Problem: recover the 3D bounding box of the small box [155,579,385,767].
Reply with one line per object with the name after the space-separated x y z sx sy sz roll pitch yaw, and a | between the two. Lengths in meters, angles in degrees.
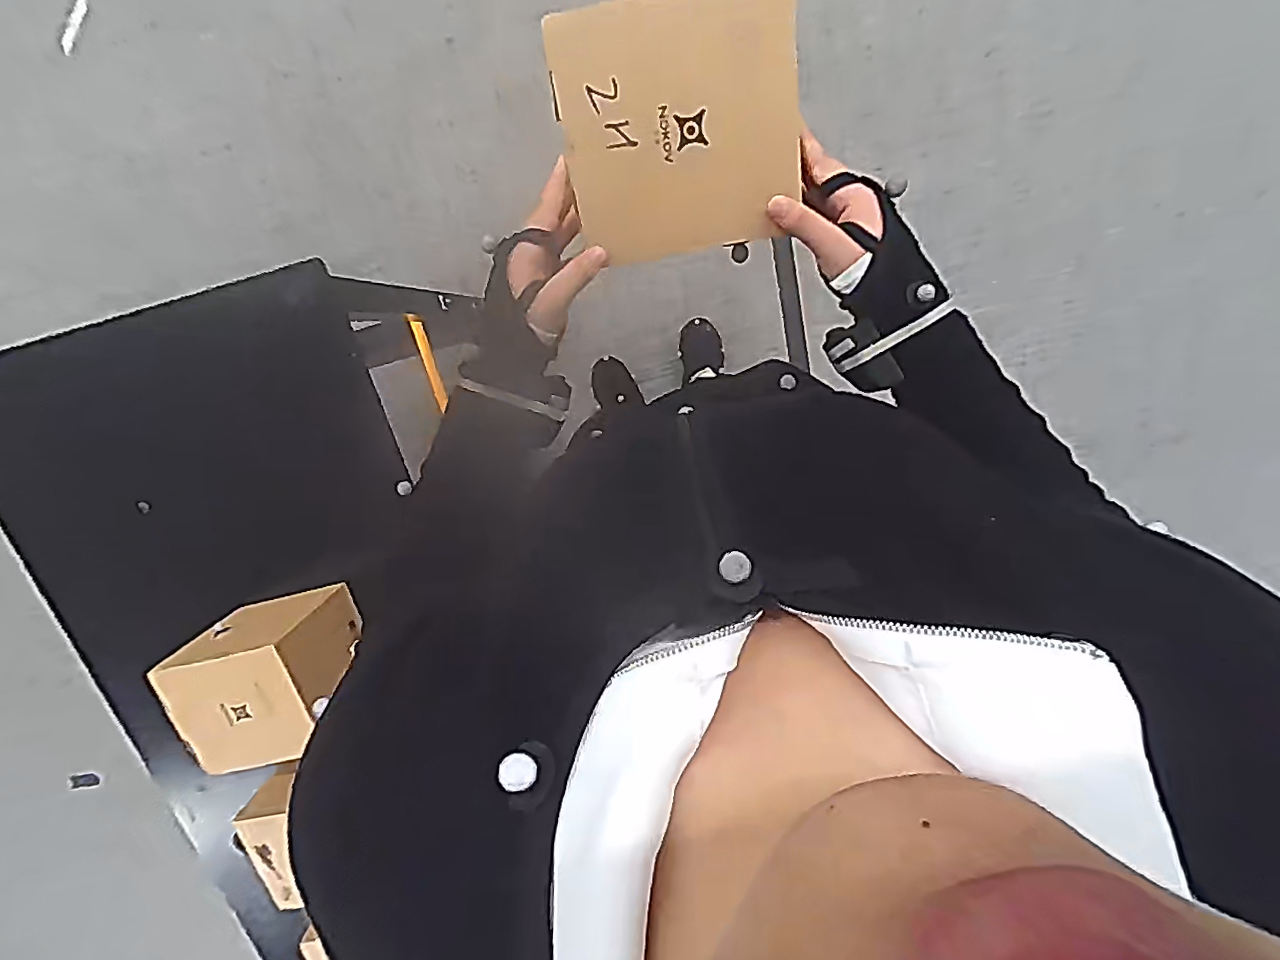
-0.503 0.262 0.765 0.179 0.176 0.168 -15 107 4 | small box
